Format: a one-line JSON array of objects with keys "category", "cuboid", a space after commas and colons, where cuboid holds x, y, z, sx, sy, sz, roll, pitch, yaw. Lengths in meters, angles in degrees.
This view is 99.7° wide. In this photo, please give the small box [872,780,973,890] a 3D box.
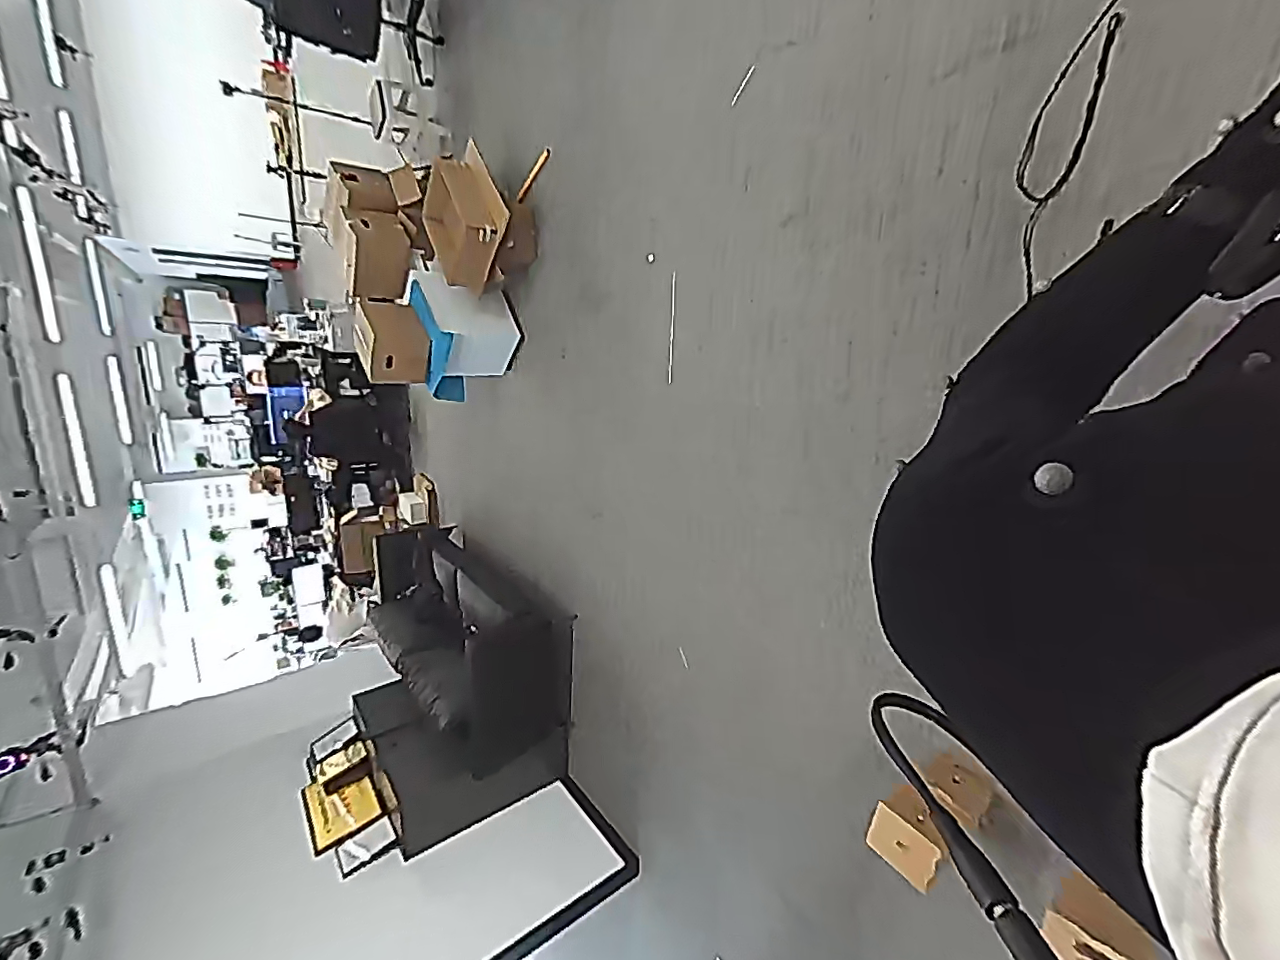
[{"category": "small box", "cuboid": [0.794, 0.983, 1.521, 0.179, 0.176, 0.168, 28, 119, 46]}]

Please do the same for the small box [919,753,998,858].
[{"category": "small box", "cuboid": [0.930, 0.958, 1.608, 0.168, 0.176, 0.179, 31, 120, 47]}]

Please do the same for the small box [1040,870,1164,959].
[{"category": "small box", "cuboid": [1.035, 1.035, 1.210, 0.168, 0.176, 0.179, 17, 112, 51]}]
